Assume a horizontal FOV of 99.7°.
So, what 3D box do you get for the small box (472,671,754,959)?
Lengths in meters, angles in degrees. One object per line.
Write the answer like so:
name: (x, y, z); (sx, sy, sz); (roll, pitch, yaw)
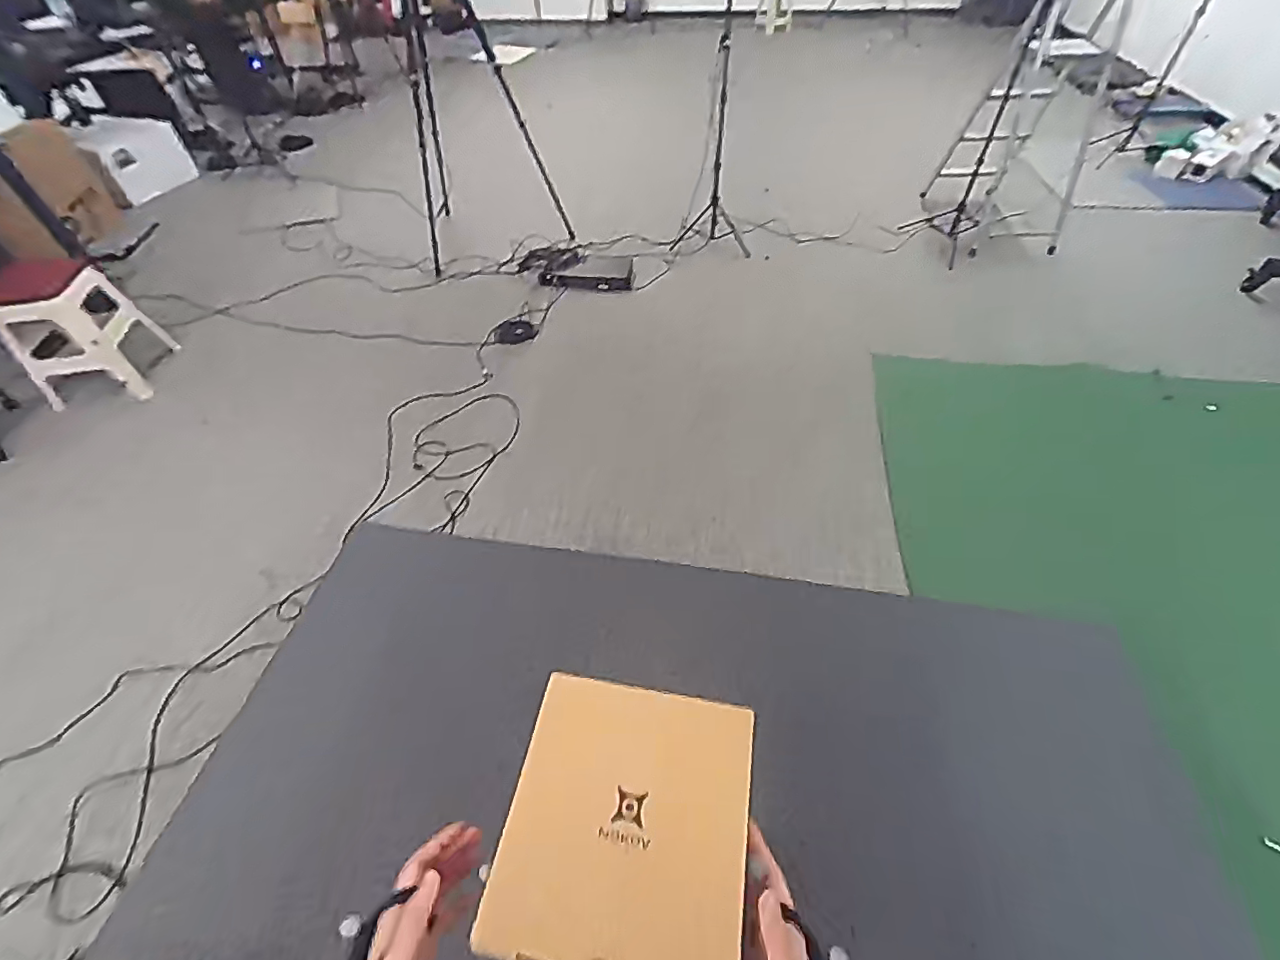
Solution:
small box: (-0.008, 0.281, 0.430); (0.168, 0.176, 0.179); (7, 49, 8)
